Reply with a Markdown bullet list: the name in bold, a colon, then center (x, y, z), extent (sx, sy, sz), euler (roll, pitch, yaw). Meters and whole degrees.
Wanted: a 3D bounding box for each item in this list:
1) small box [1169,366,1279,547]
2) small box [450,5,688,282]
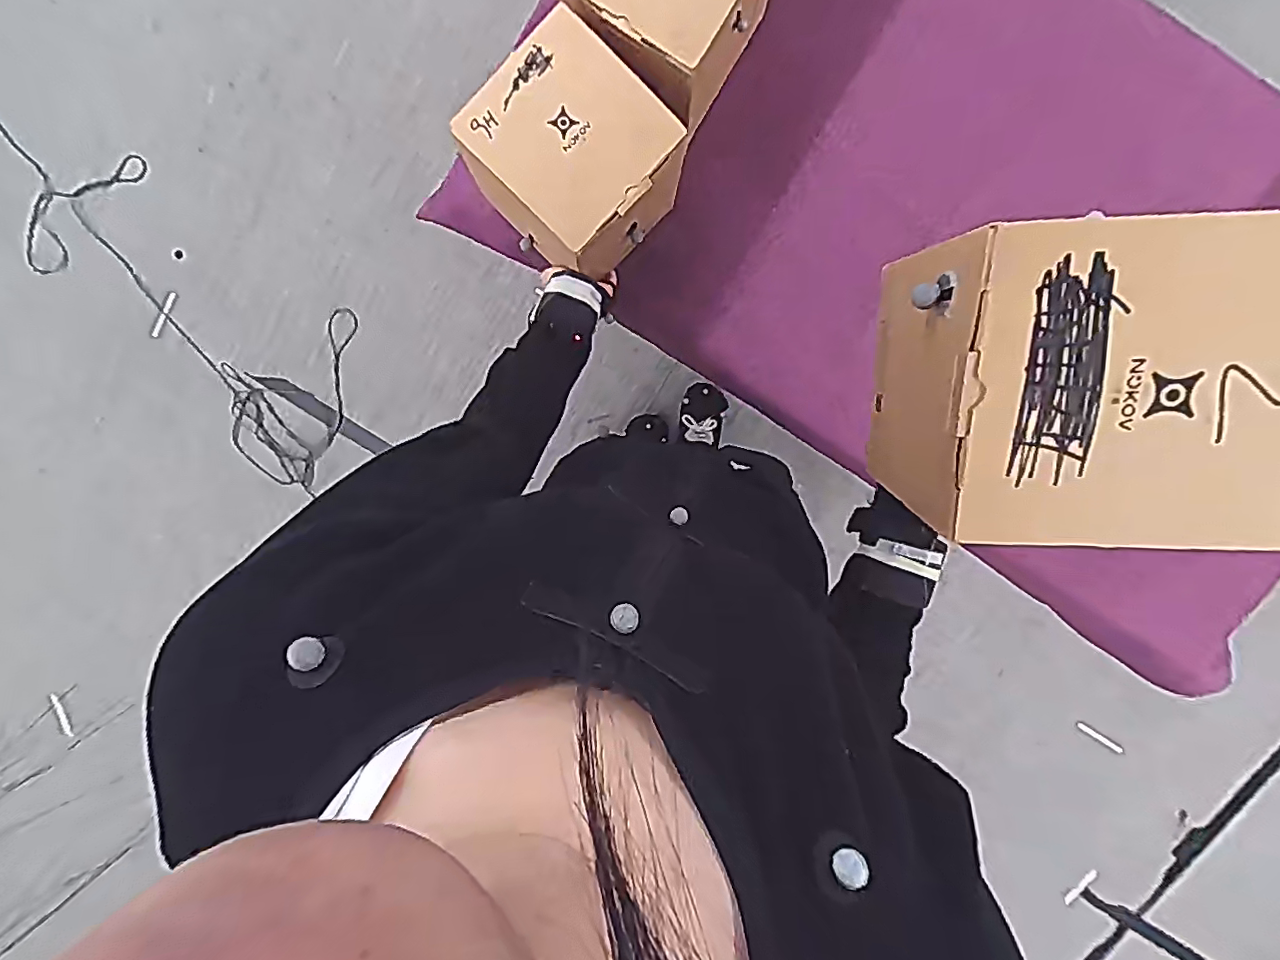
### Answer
- **small box**: center (0.796, -0.021, 0.634), extent (0.168, 0.176, 0.179), euler (37, 98, -3)
- **small box**: center (-0.072, -0.348, 0.608), extent (0.179, 0.176, 0.168), euler (44, 91, -6)
